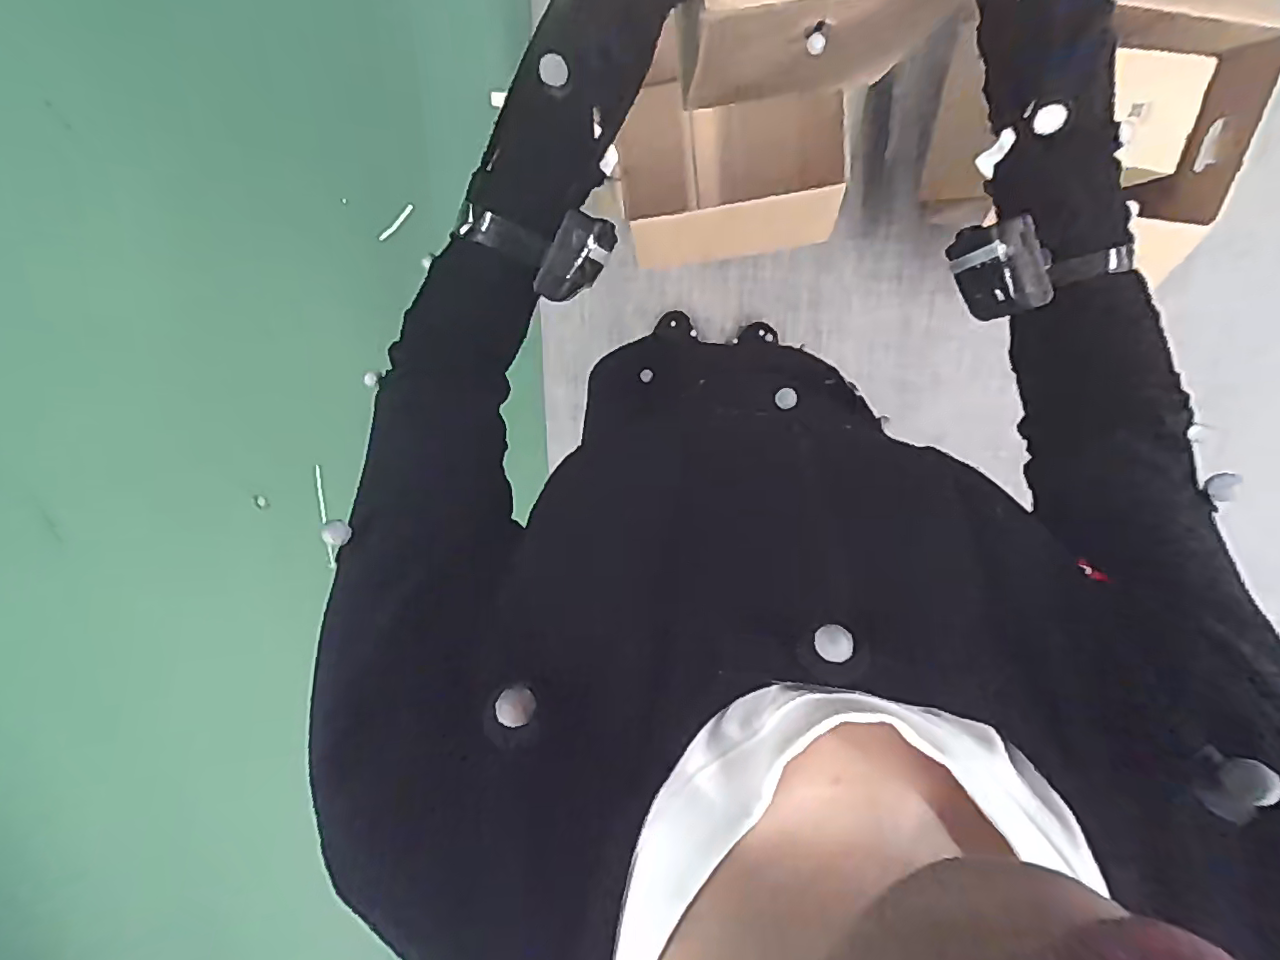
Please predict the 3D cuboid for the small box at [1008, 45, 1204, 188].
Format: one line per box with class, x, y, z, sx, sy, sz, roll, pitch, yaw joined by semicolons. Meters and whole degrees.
small box;0.818;-0.638;0.972;0.179;0.176;0.168;7;107;1
